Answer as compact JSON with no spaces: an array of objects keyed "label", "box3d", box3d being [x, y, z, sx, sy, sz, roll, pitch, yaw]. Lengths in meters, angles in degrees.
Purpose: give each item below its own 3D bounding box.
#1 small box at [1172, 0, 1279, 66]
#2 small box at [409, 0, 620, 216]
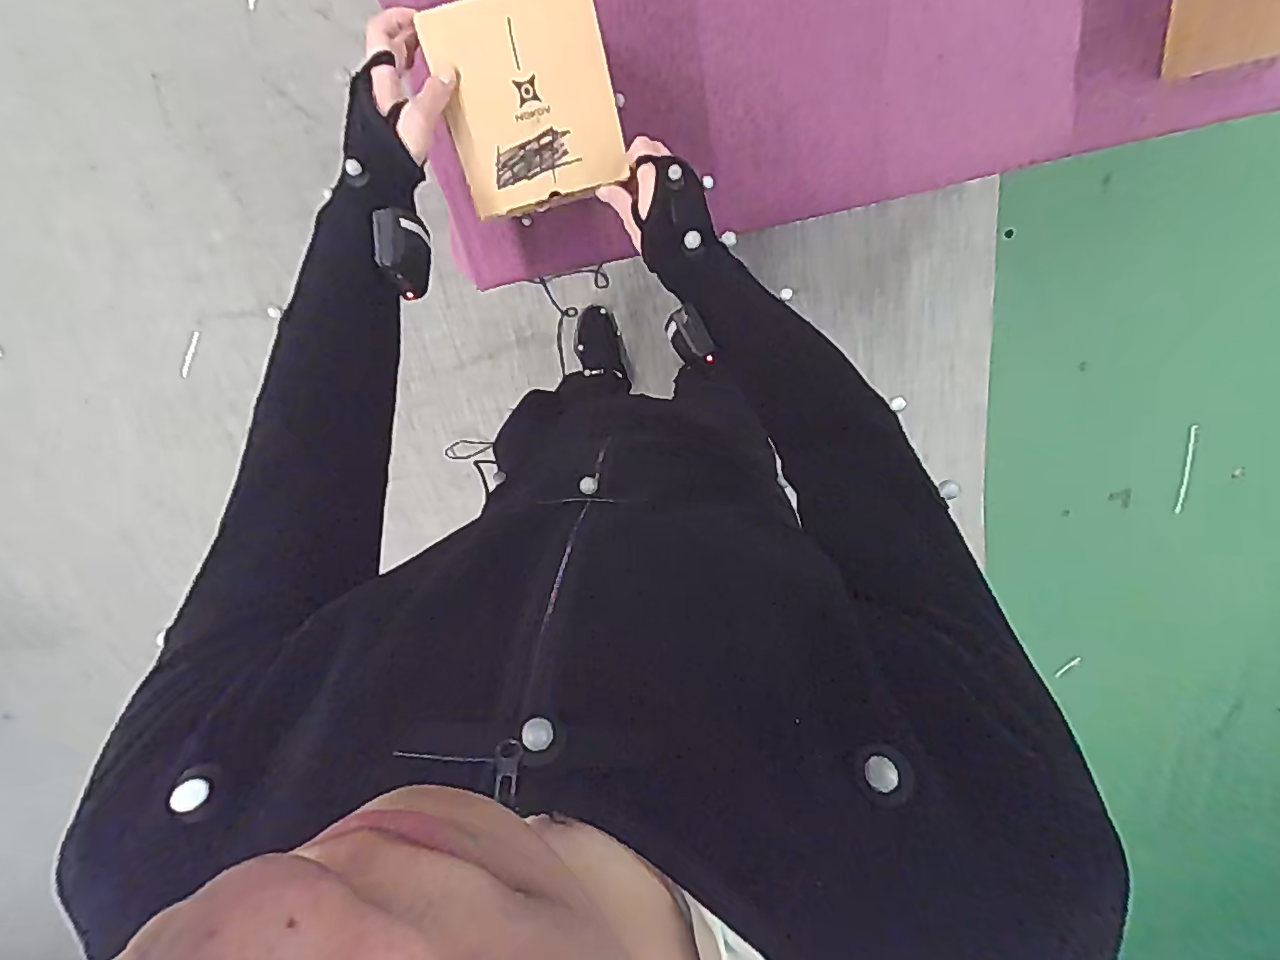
[{"label":"small box","box3d":[0.739,-0.591,0.582,0.168,0.176,0.179,-11,114,5]},{"label":"small box","box3d":[-0.121,-0.412,0.606,0.168,0.176,0.179,-14,116,4]}]
